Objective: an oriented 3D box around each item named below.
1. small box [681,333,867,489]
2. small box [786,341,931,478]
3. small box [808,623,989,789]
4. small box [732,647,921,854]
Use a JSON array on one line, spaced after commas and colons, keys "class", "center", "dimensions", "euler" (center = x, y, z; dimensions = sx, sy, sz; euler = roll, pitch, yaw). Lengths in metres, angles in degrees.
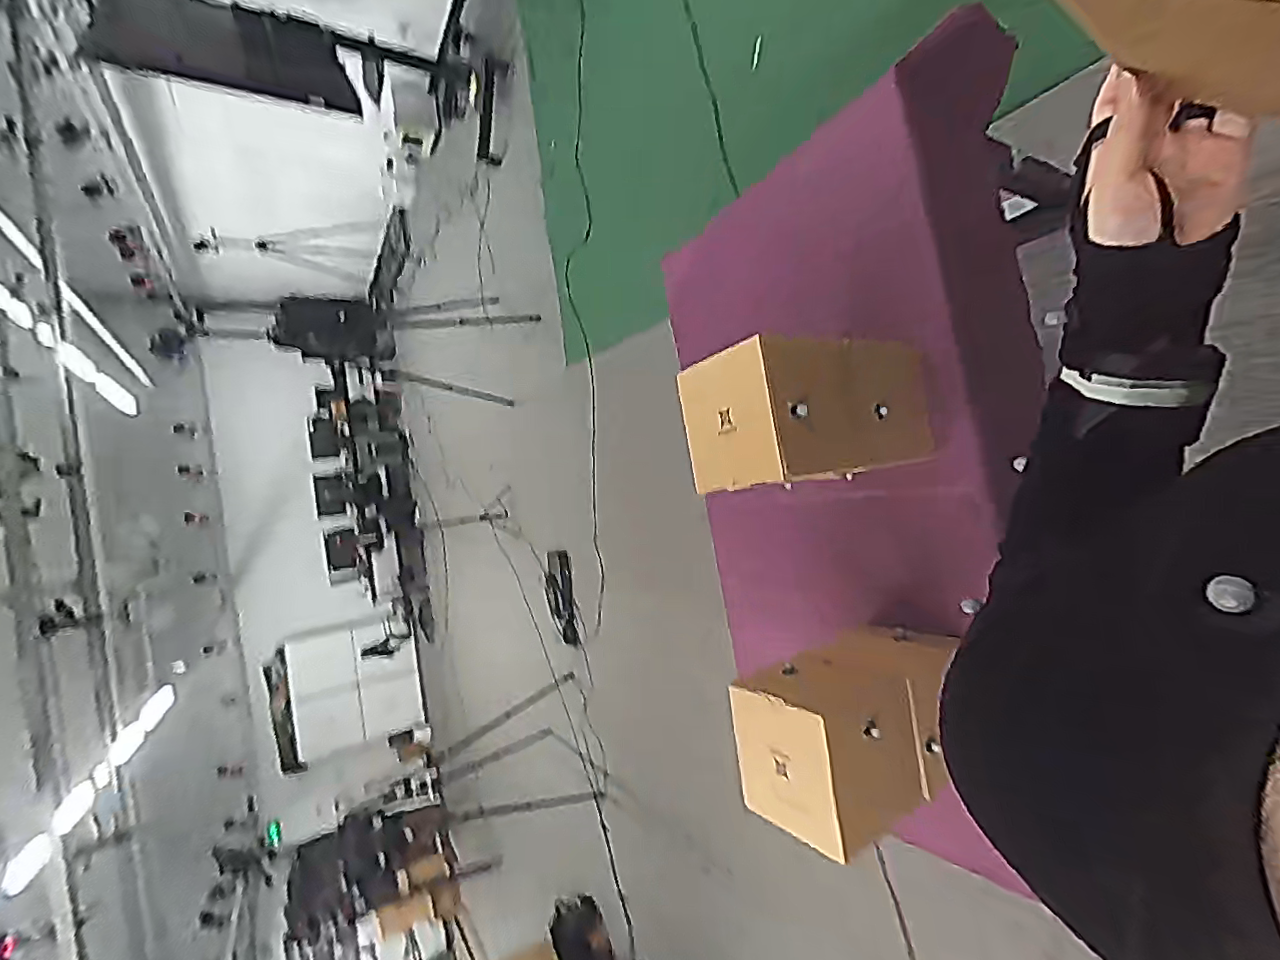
[{"class": "small box", "center": [0.183, -0.090, 0.747], "dimensions": [0.168, 0.176, 0.179], "euler": [-14, 86, 57]}, {"class": "small box", "center": [0.320, -0.106, 0.835], "dimensions": [0.168, 0.176, 0.179], "euler": [-12, 86, 57]}, {"class": "small box", "center": [0.388, 0.325, 0.822], "dimensions": [0.179, 0.176, 0.168], "euler": [-11, 88, 58]}, {"class": "small box", "center": [0.251, 0.343, 0.733], "dimensions": [0.168, 0.176, 0.179], "euler": [-8, 90, 58]}]
